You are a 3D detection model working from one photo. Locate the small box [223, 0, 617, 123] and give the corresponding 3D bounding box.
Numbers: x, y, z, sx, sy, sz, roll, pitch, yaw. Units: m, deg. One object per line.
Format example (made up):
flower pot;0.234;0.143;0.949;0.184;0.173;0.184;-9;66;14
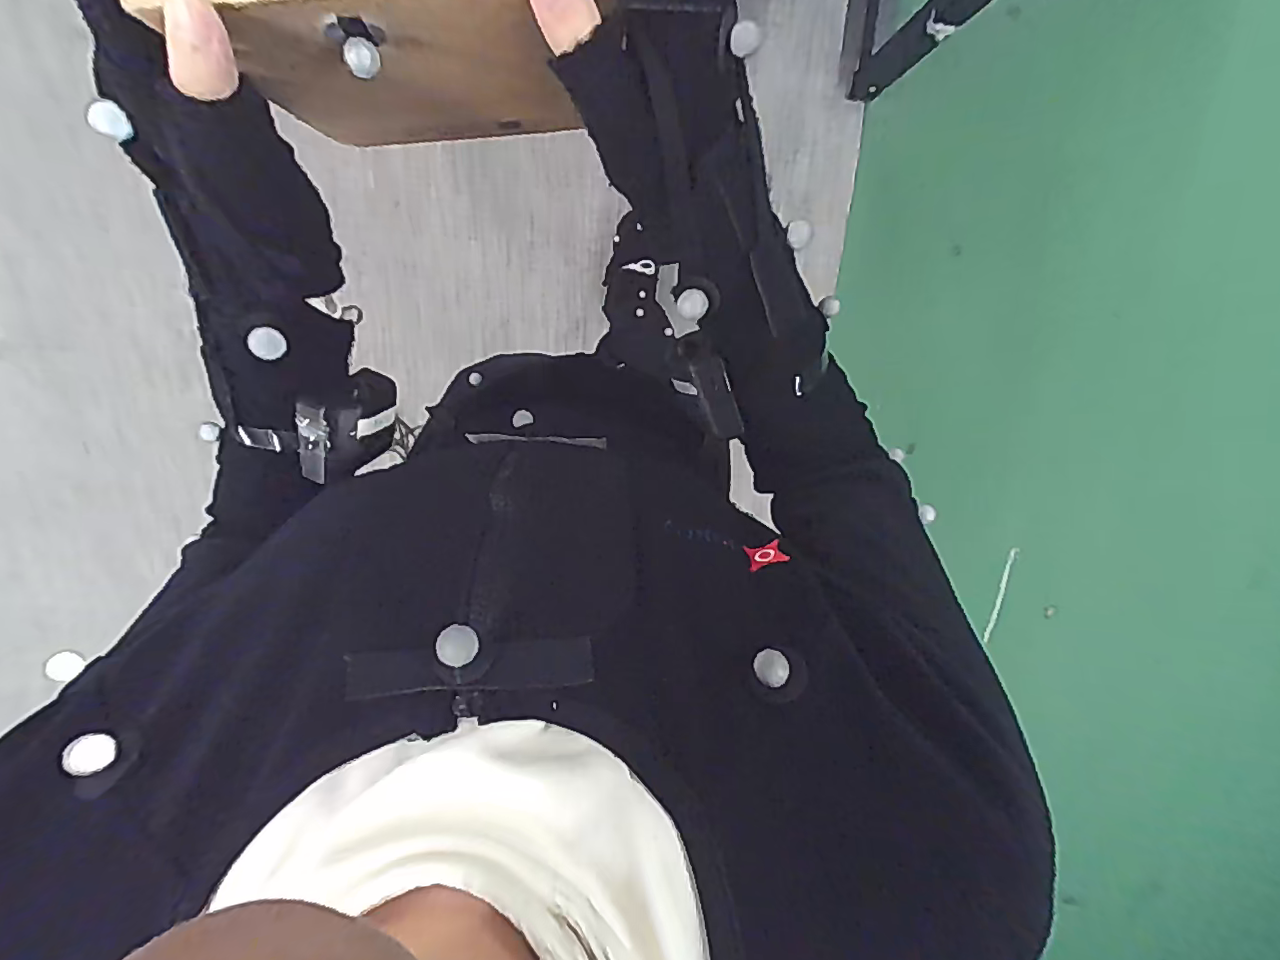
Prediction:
small box;-0.100;-0.280;0.224;0.168;0.176;0.179;-7;108;-3
